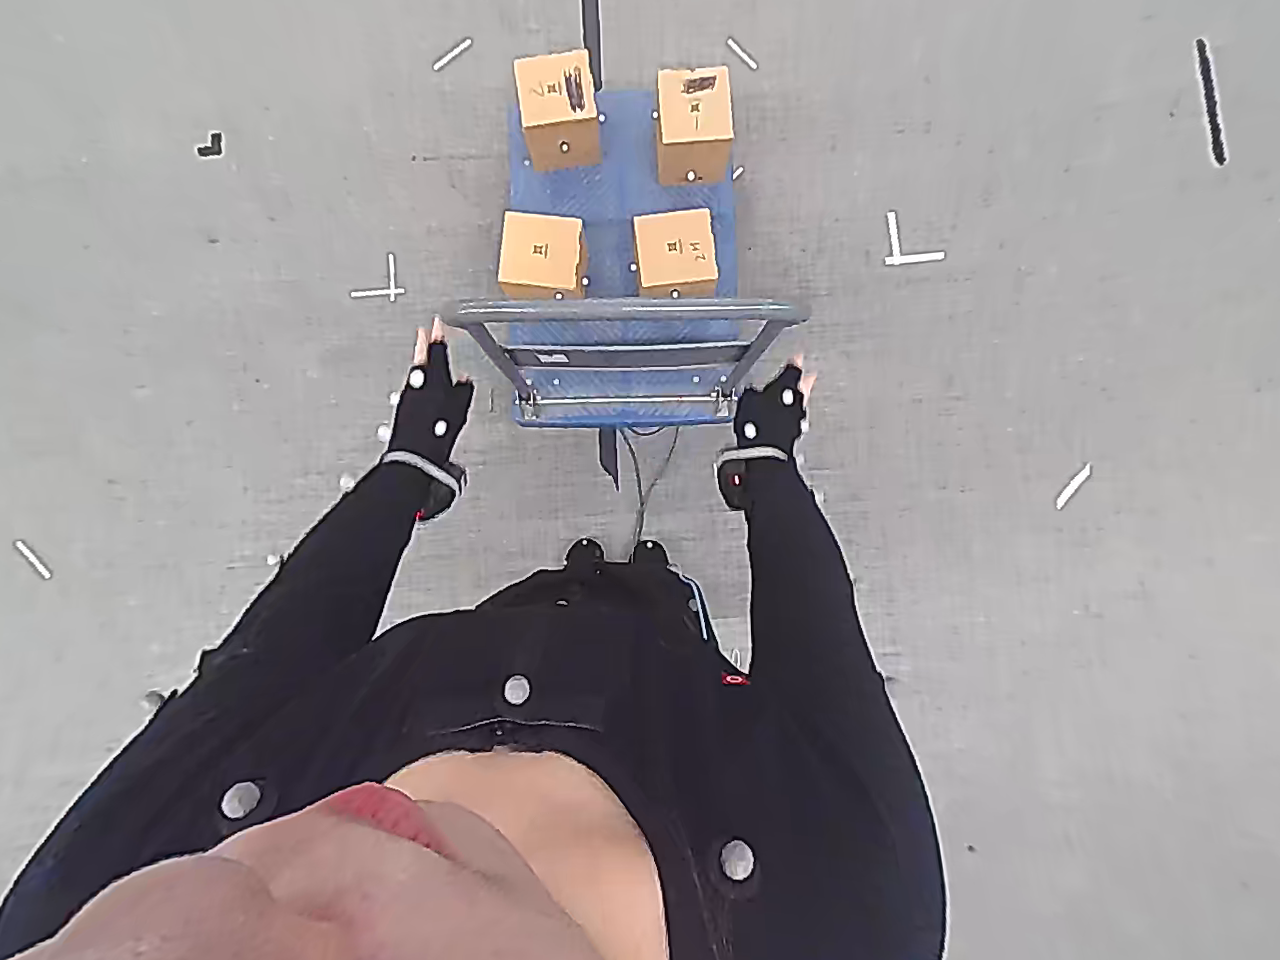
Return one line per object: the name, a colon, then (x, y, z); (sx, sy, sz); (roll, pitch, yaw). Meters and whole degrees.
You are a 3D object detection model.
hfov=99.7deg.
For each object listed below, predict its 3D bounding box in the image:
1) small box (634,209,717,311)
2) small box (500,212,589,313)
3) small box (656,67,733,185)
small box: (0.082, -0.521, 1.300); (0.179, 0.176, 0.168); (-7, 87, -1)
small box: (-0.222, -0.514, 1.297); (0.179, 0.176, 0.168); (5, 86, -2)
small box: (0.128, -0.857, 1.320); (0.168, 0.176, 0.179); (-4, 87, 0)
